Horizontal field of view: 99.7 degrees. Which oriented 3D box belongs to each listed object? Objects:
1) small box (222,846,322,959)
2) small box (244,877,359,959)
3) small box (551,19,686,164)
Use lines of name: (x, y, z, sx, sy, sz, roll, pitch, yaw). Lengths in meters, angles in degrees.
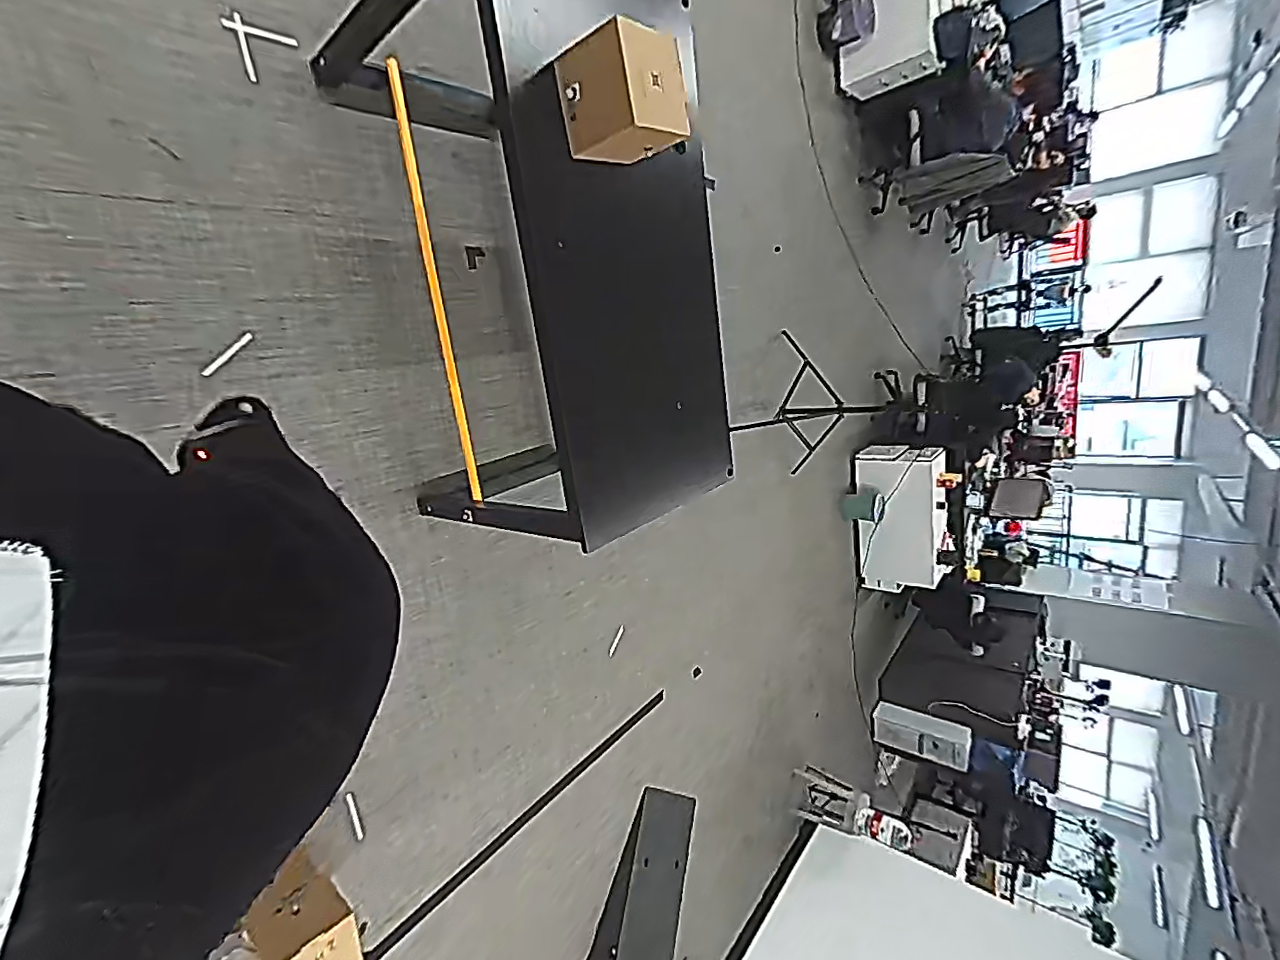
small box: (-0.874, 1.033, 1.308, 0.168, 0.176, 0.179, -23, 110, -47)
small box: (-0.748, 1.045, 1.201, 0.168, 0.176, 0.179, -15, 104, -49)
small box: (-0.039, -0.719, 1.025, 0.179, 0.176, 0.168, -29, 114, -44)
